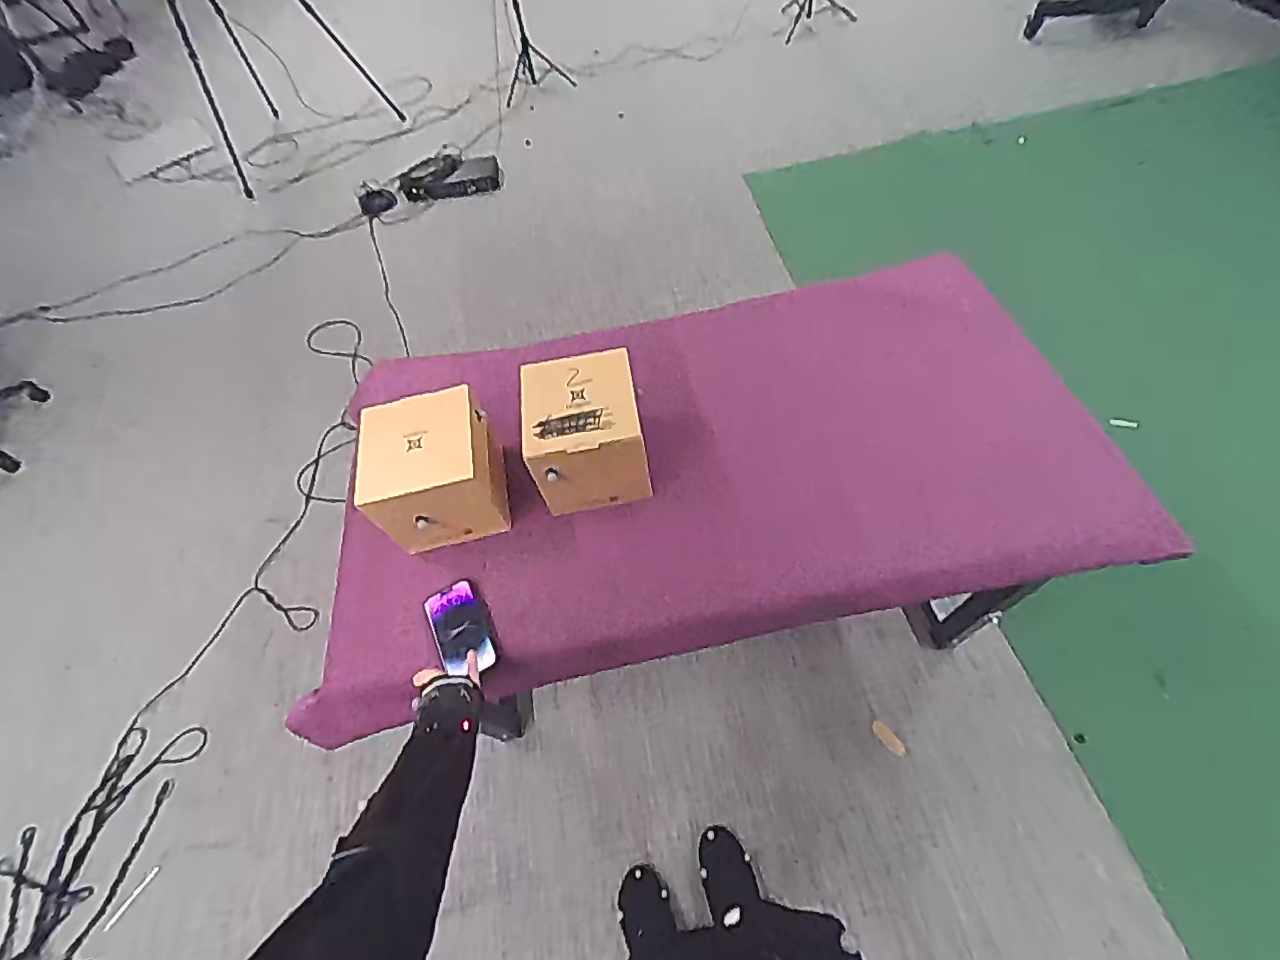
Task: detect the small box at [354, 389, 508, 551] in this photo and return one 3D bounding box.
[{"bbox_3d":[-0.311,-0.006,0.832,0.168,0.176,0.179,-14,56,-2],"label":"small box"}]
